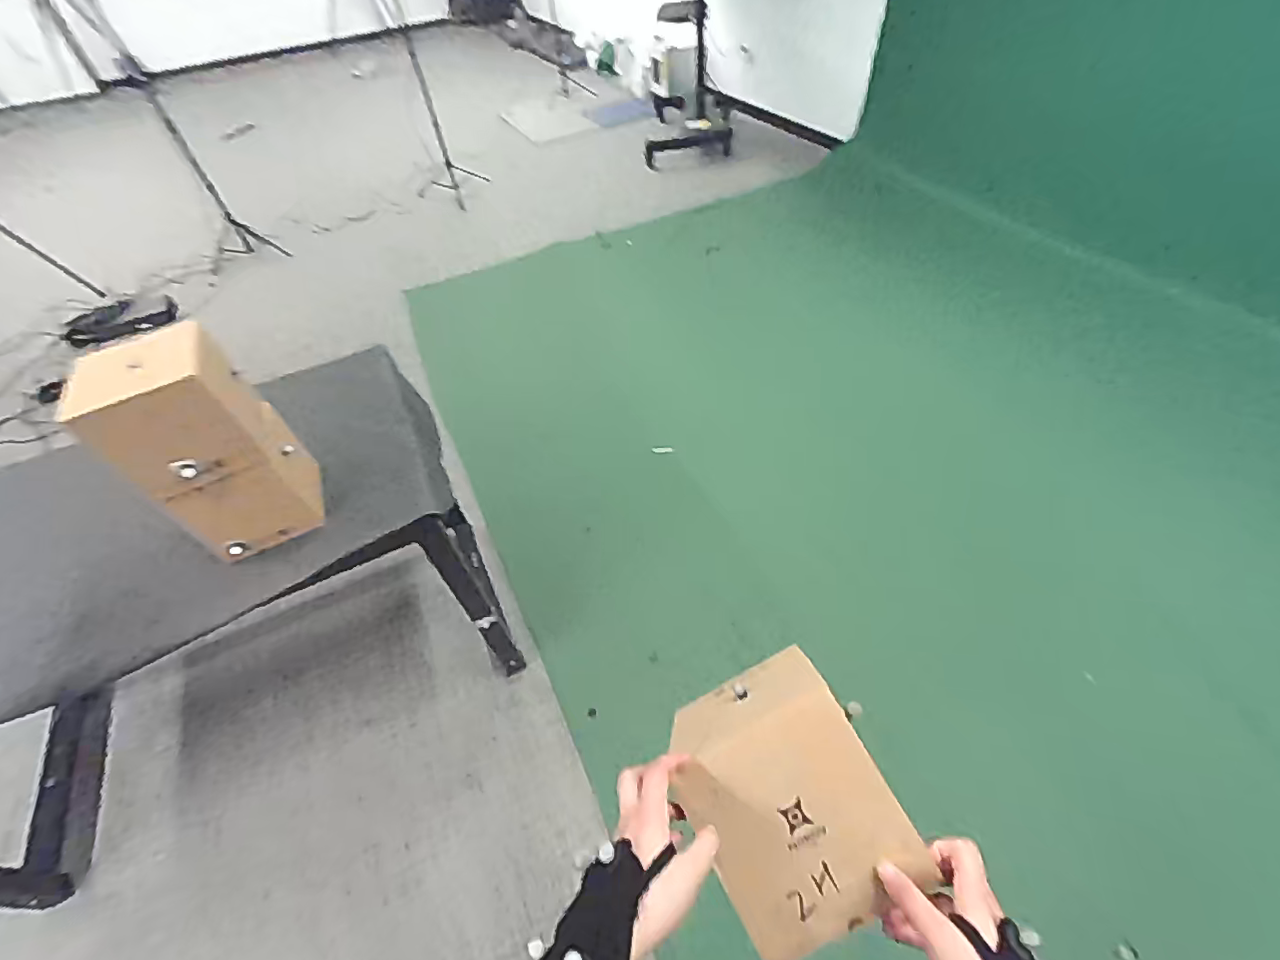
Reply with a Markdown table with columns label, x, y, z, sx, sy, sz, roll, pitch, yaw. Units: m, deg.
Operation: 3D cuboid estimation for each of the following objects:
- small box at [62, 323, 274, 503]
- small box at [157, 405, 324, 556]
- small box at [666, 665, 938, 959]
| label | x | y | z | sx | sy | sz | roll | pitch | yaw |
| --- | --- | --- | --- | --- | --- | --- | --- | --- | --- |
| small box | -0.681 | -0.099 | 0.805 | 0.168 | 0.176 | 0.179 | -27 | 51 | -15 |
| small box | -0.668 | 0.007 | 0.927 | 0.168 | 0.176 | 0.179 | -23 | 48 | -14 |
| small box | 0.141 | 0.304 | 0.533 | 0.168 | 0.176 | 0.179 | -32 | 82 | 4 |
